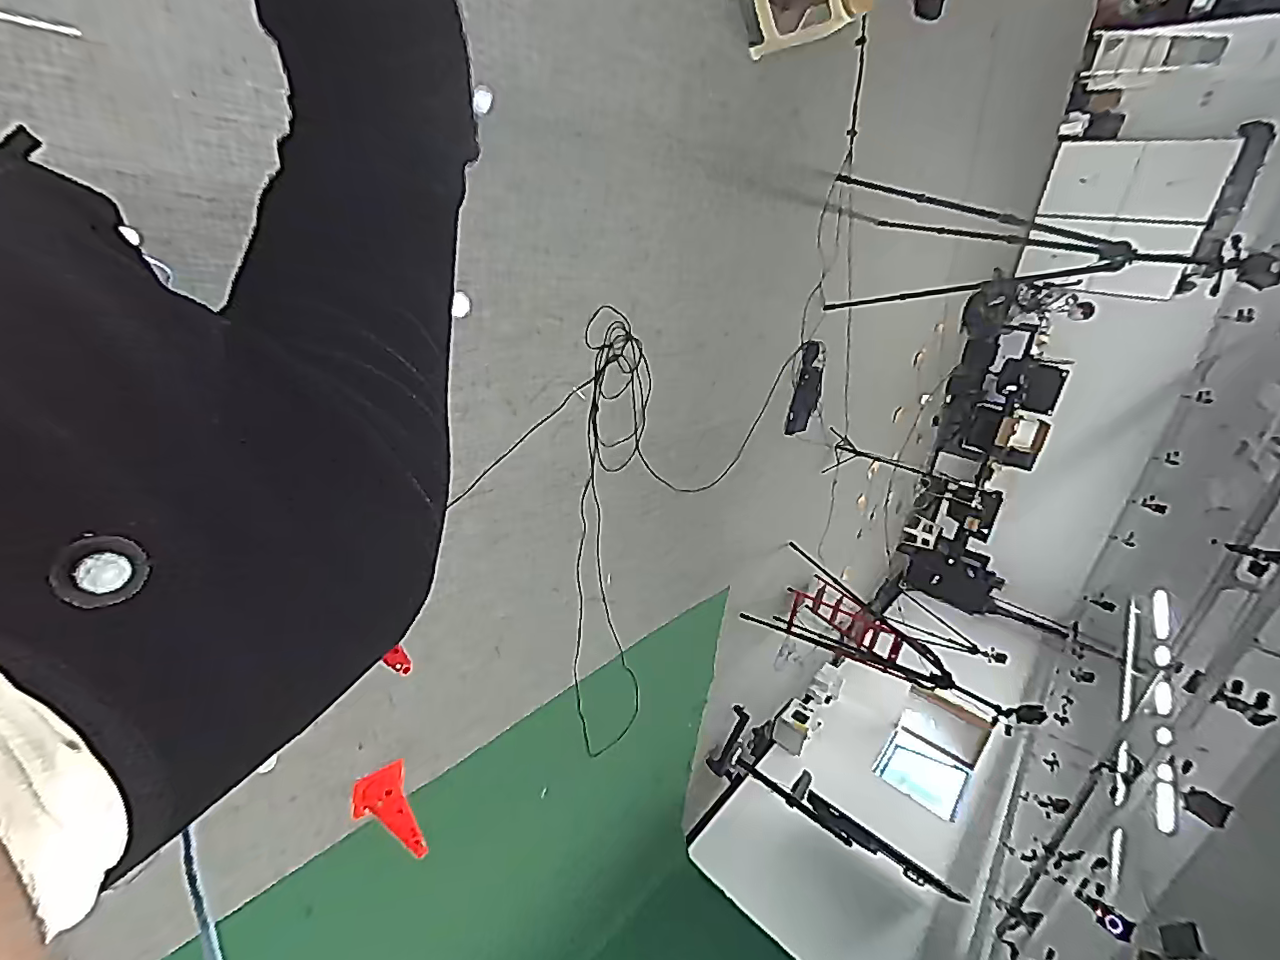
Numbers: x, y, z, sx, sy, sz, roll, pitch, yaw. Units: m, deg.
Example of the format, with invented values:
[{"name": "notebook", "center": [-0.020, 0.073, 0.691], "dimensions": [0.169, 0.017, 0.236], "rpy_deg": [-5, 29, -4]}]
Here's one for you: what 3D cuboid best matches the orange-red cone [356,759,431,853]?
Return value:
[{"name": "orange-red cone", "center": [-0.919, 1.304, 2.102], "dimensions": [0.199, 0.360, 0.198], "rpy_deg": [-11, 119, -50]}]
